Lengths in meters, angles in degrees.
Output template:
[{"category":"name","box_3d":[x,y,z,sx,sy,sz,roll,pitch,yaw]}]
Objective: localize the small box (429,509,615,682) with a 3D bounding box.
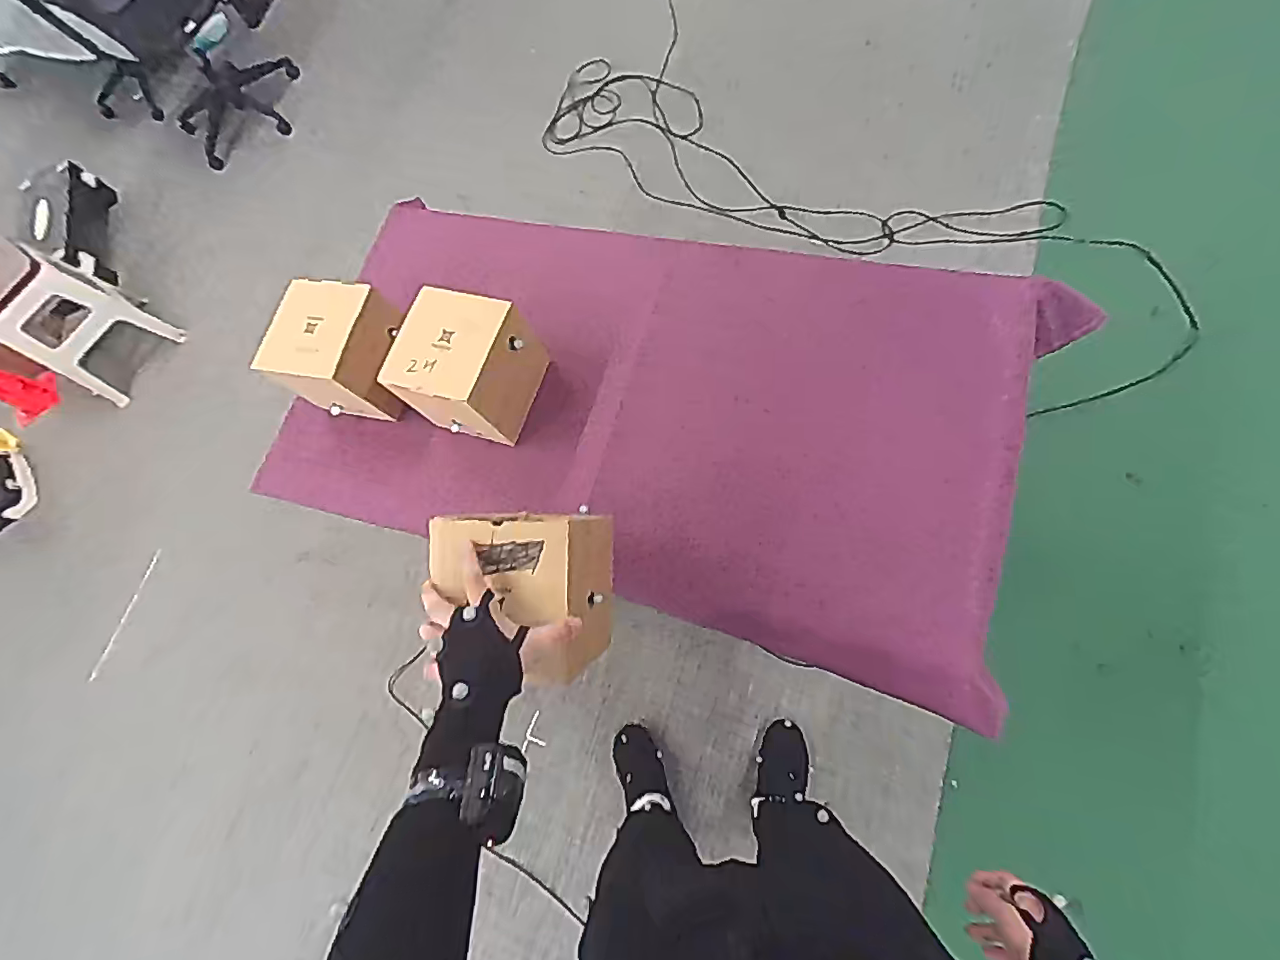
[{"category":"small box","box_3d":[-0.133,0.125,0.659,0.168,0.176,0.179,1,89,14]}]

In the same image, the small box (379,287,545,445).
[{"category":"small box","box_3d":[-0.275,-0.180,0.884,0.168,0.176,0.179,16,76,17]}]

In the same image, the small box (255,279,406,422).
[{"category":"small box","box_3d":[-0.512,-0.223,0.950,0.168,0.176,0.179,10,75,16]}]
